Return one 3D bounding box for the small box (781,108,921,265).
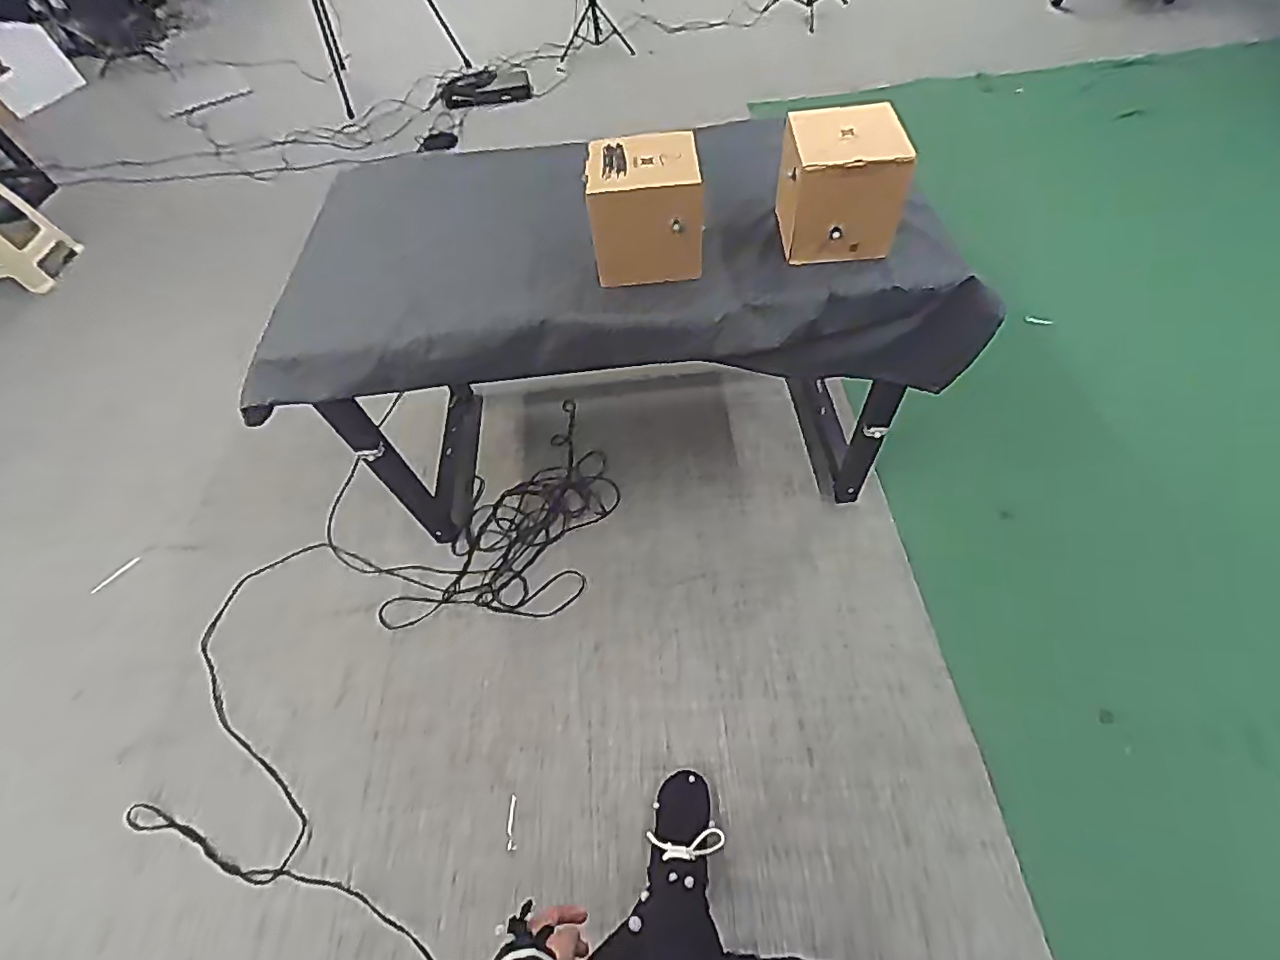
[{"bbox_3d":[0.336,-0.486,0.904,0.168,0.176,0.179,-2,57,5],"label":"small box"}]
